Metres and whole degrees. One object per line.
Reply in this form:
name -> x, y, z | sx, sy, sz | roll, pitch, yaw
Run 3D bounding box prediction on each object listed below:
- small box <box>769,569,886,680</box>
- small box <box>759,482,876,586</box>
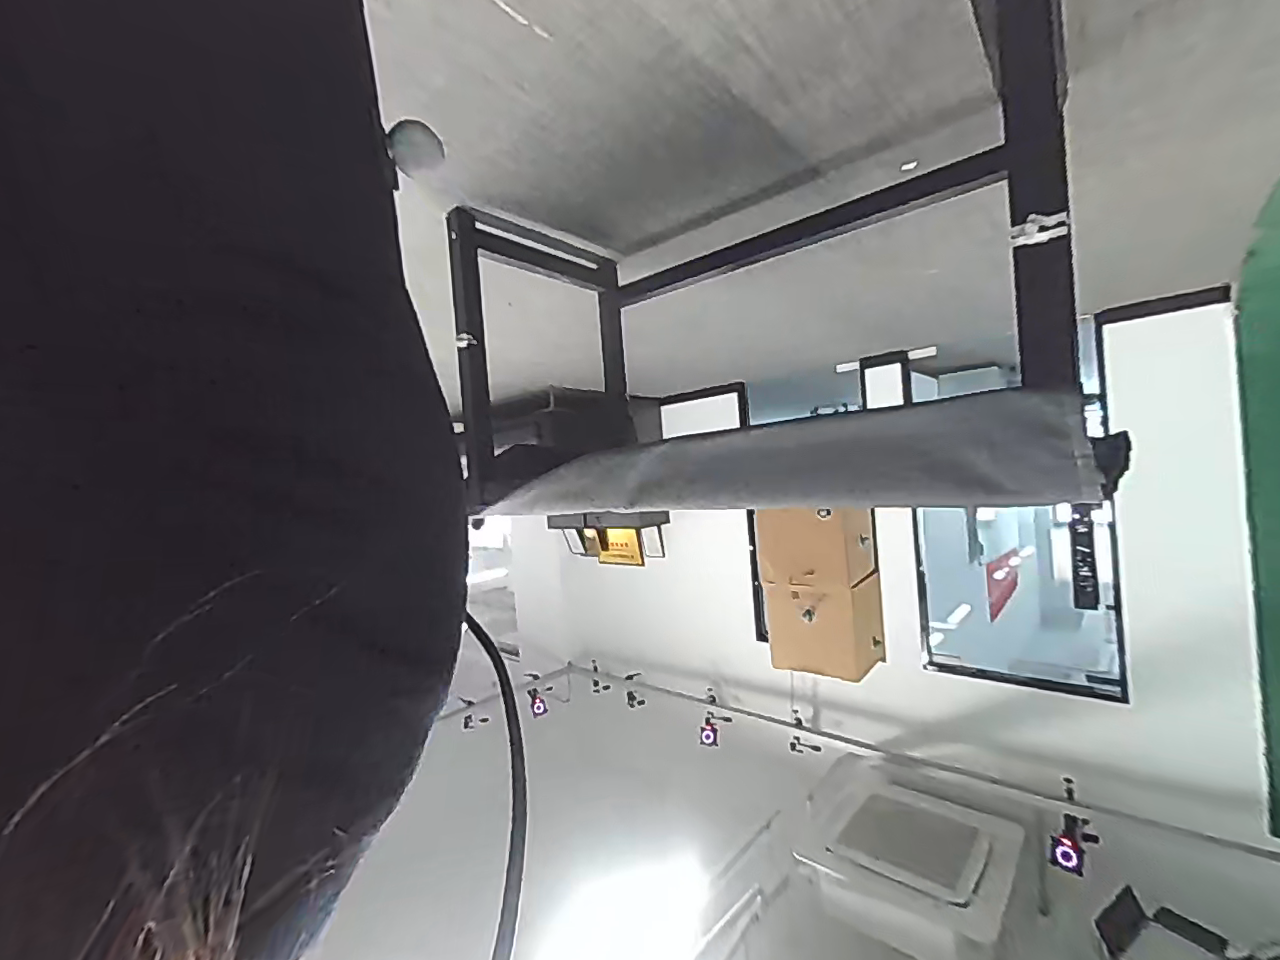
small box -> 0.364, 0.261, 1.044 | 0.168, 0.176, 0.179 | -5, 180, 39
small box -> 0.338, 0.098, 1.031 | 0.168, 0.176, 0.179 | -4, -178, 37
